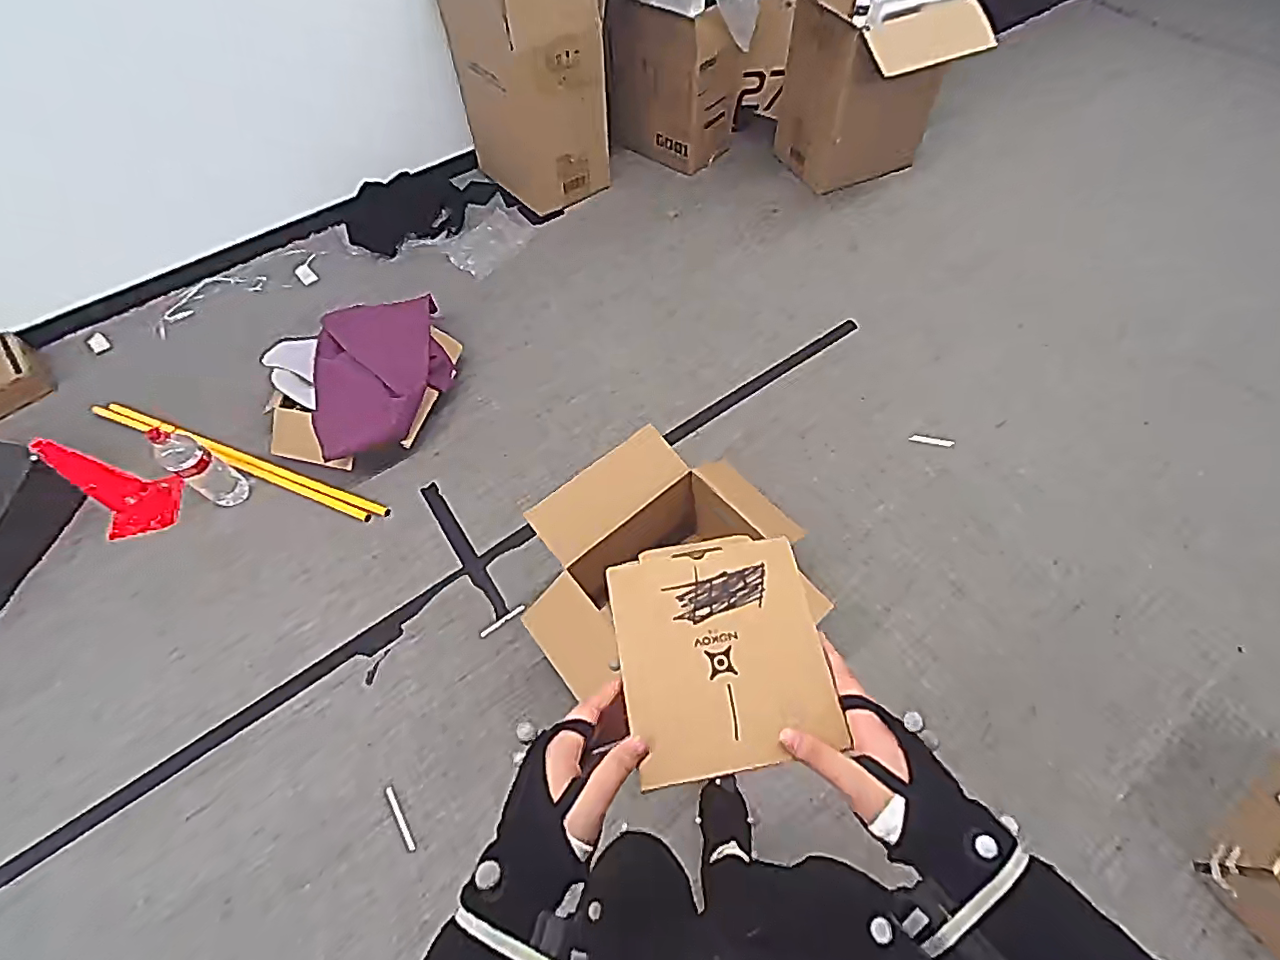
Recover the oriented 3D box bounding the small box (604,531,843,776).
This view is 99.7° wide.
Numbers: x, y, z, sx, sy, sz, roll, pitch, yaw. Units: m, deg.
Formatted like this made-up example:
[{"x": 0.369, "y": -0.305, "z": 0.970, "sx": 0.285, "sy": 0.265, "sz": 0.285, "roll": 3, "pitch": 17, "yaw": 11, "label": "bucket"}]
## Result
[{"x": 0.064, "y": 0.170, "z": 0.516, "sx": 0.168, "sy": 0.176, "sz": 0.179, "roll": -11, "pitch": 63, "yaw": -1, "label": "small box"}]
